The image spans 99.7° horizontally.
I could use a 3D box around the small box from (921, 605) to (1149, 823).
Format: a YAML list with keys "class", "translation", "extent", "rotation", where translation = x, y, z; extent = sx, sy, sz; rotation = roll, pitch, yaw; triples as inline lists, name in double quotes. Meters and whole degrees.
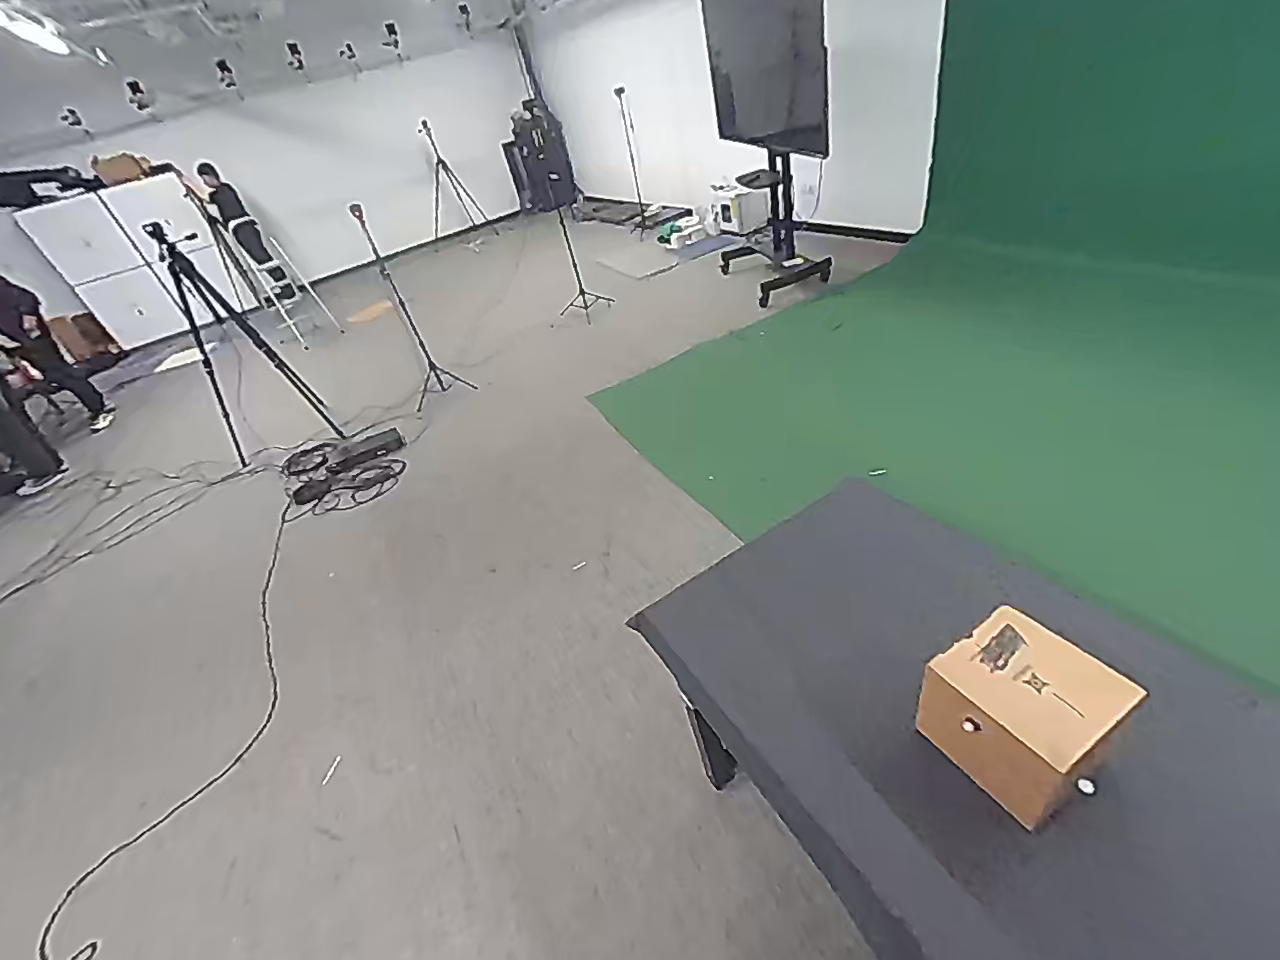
- class: "small box"
  translation: [0.511, 0.312, 0.730]
  extent: [0.168, 0.176, 0.179]
  rotation: [-28, 39, -16]
